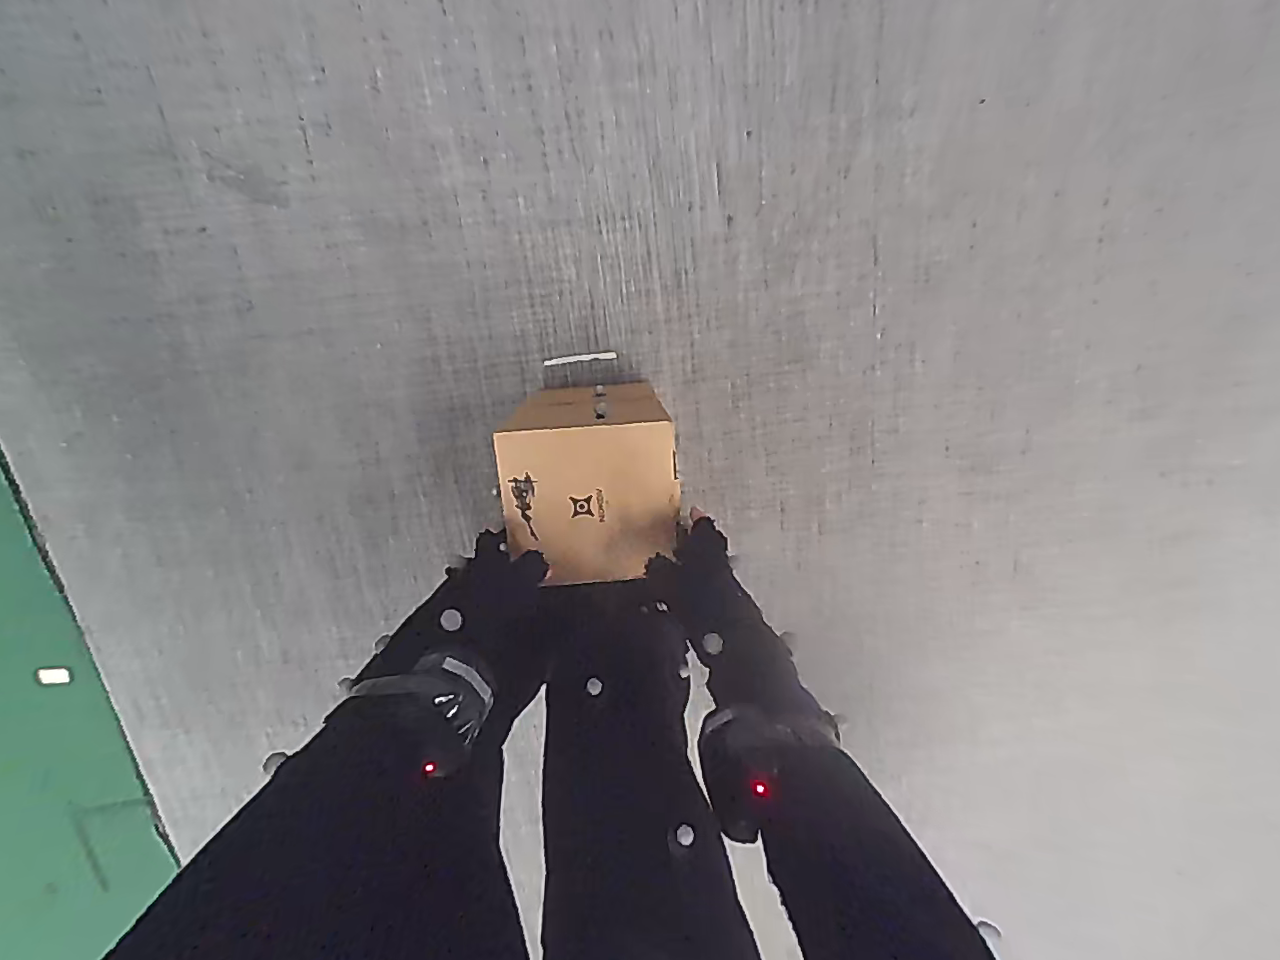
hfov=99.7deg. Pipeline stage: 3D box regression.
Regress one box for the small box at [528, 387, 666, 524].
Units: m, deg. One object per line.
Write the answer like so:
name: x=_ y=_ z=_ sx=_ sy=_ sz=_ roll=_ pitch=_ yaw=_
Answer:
small box: x=-0.058 y=-0.043 z=0.776 sx=0.179 sy=0.176 sz=0.168 roll=-2 pitch=104 yaw=-2
